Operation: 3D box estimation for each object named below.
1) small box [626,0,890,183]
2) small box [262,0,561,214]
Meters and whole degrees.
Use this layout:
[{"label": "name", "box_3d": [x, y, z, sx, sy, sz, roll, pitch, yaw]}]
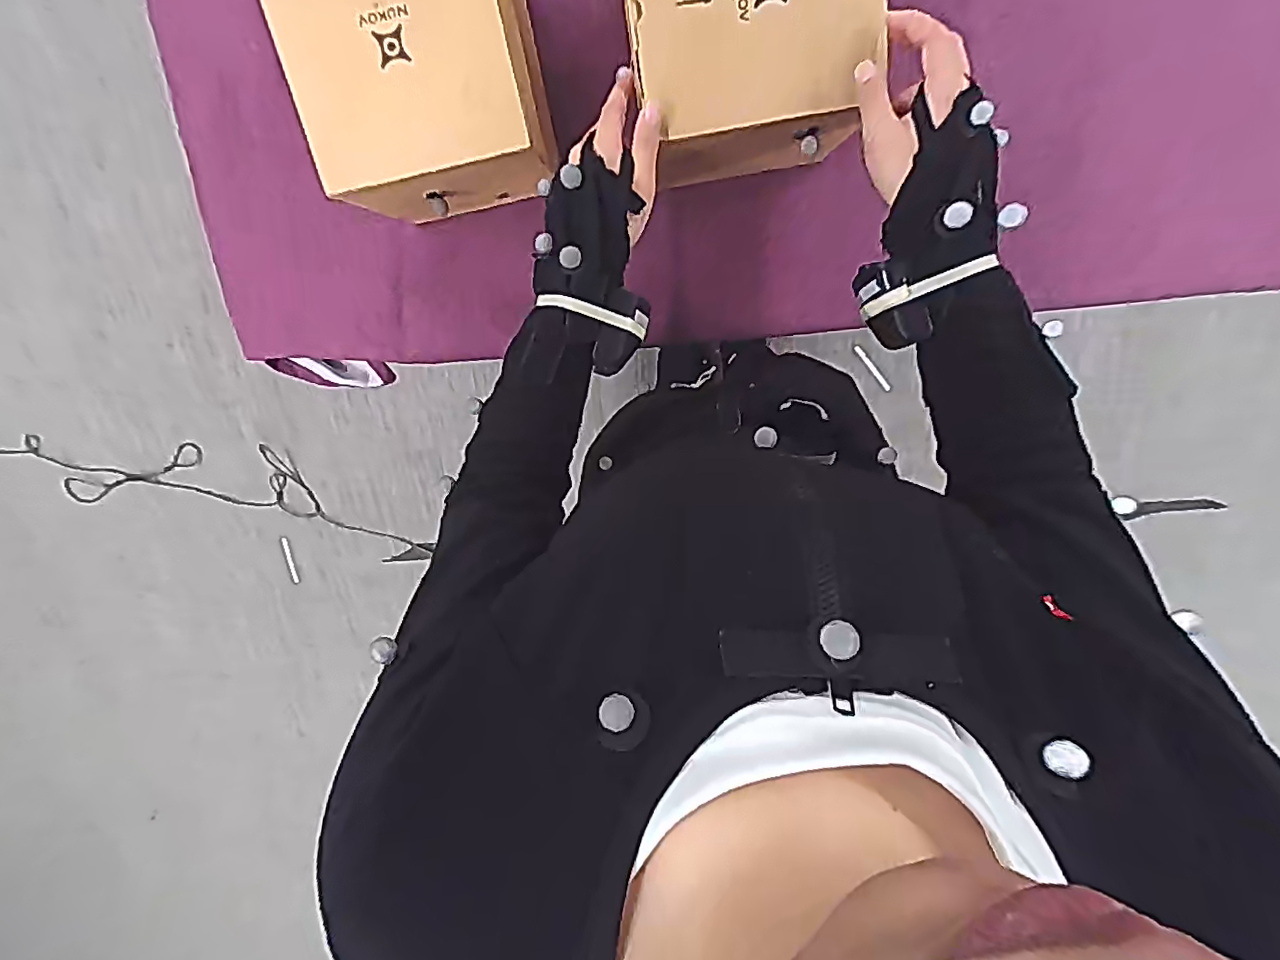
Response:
[{"label": "small box", "box_3d": [0.082, -0.361, 0.442, 0.179, 0.176, 0.168, -8, 107, 4]}, {"label": "small box", "box_3d": [-0.174, -0.339, 0.458, 0.168, 0.176, 0.179, -11, 107, 5]}]
